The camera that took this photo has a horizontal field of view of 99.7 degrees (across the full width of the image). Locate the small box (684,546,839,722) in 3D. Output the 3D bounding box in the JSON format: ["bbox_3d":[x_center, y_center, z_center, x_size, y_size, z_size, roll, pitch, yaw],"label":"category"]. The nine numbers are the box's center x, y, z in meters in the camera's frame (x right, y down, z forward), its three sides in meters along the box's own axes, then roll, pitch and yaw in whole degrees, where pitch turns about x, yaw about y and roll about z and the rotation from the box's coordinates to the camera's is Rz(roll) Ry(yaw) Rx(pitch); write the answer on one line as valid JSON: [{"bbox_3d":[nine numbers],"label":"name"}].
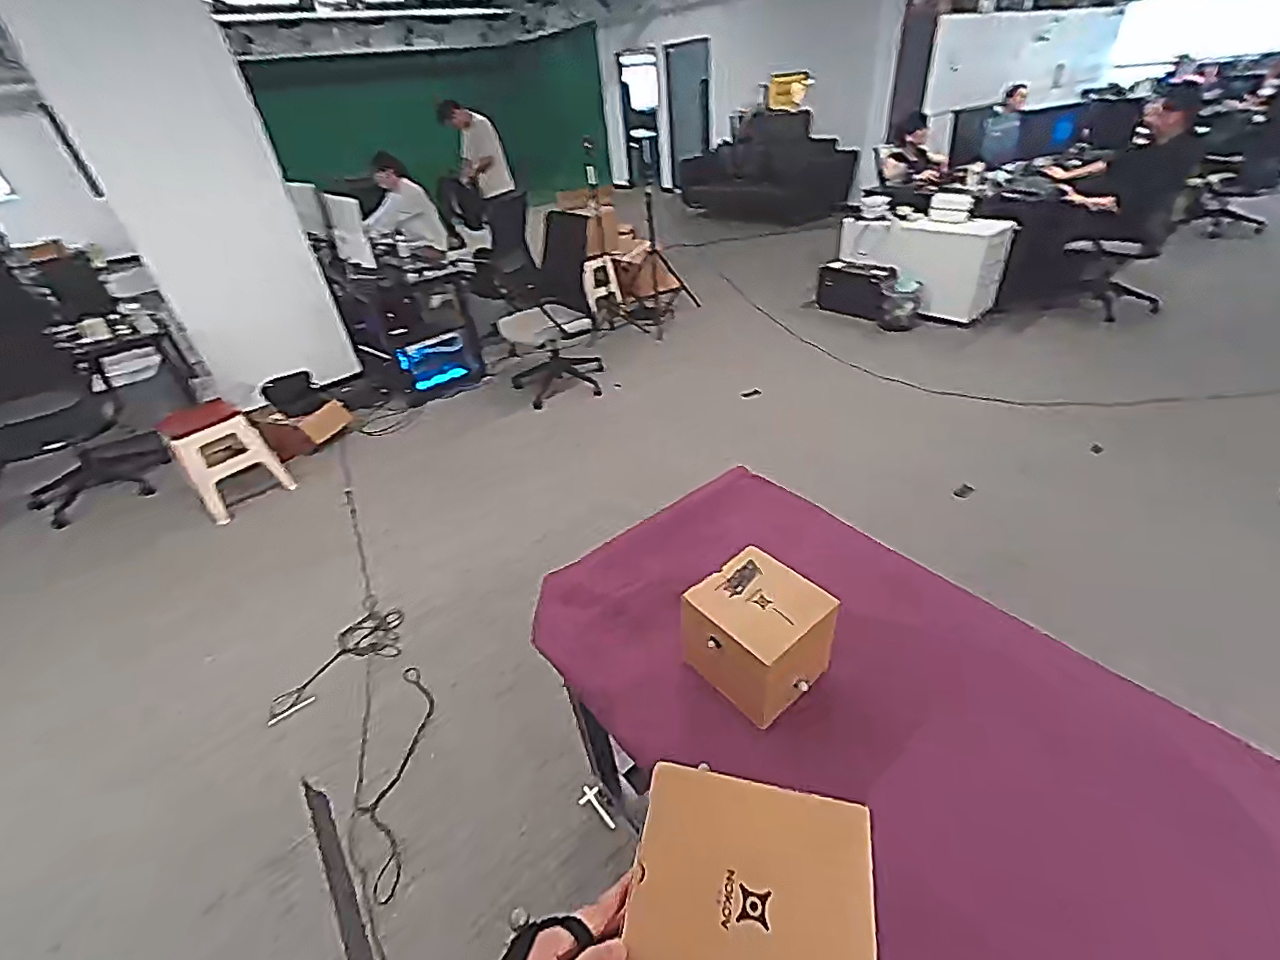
[{"bbox_3d":[0.189,0.245,0.871,0.168,0.176,0.179,-30,42,-28],"label":"small box"}]

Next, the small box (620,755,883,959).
[{"bbox_3d":[0.092,0.359,0.447,0.179,0.176,0.168,4,44,15],"label":"small box"}]
